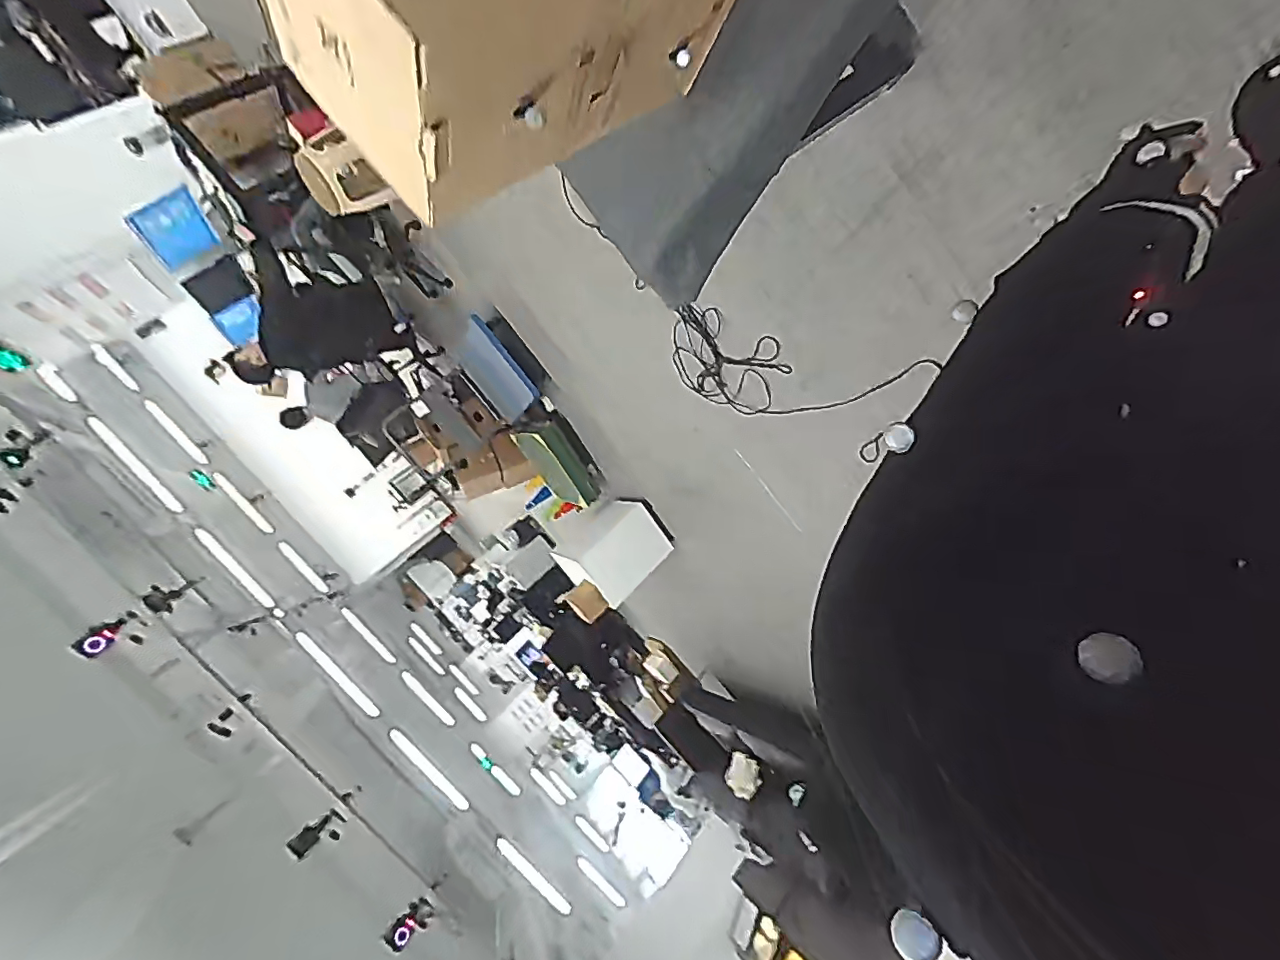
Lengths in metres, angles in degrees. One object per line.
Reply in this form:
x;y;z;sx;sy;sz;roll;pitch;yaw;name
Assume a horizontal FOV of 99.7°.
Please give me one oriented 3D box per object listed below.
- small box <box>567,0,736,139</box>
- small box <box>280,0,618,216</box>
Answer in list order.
-0.028;-0.447;0.459;0.179;0.176;0.168;50;157;-5;small box
-0.138;-0.345;0.393;0.179;0.176;0.168;49;158;-4;small box
